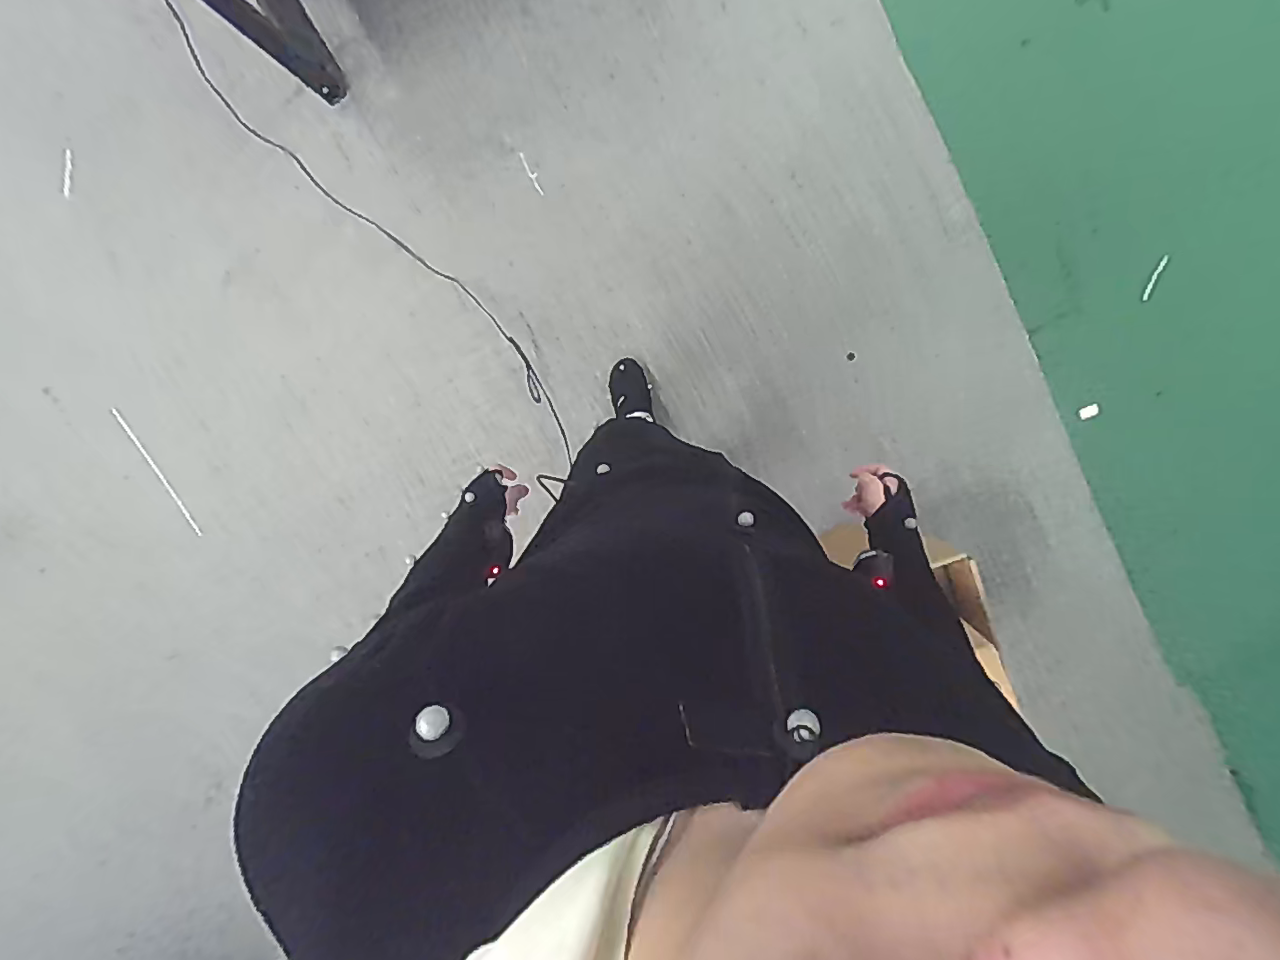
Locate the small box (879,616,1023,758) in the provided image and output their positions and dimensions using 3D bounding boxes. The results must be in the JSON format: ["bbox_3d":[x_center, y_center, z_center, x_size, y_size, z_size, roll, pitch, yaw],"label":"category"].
[{"bbox_3d":[0.605,0.402,1.072,0.168,0.176,0.179,-24,97,8],"label":"small box"}]
